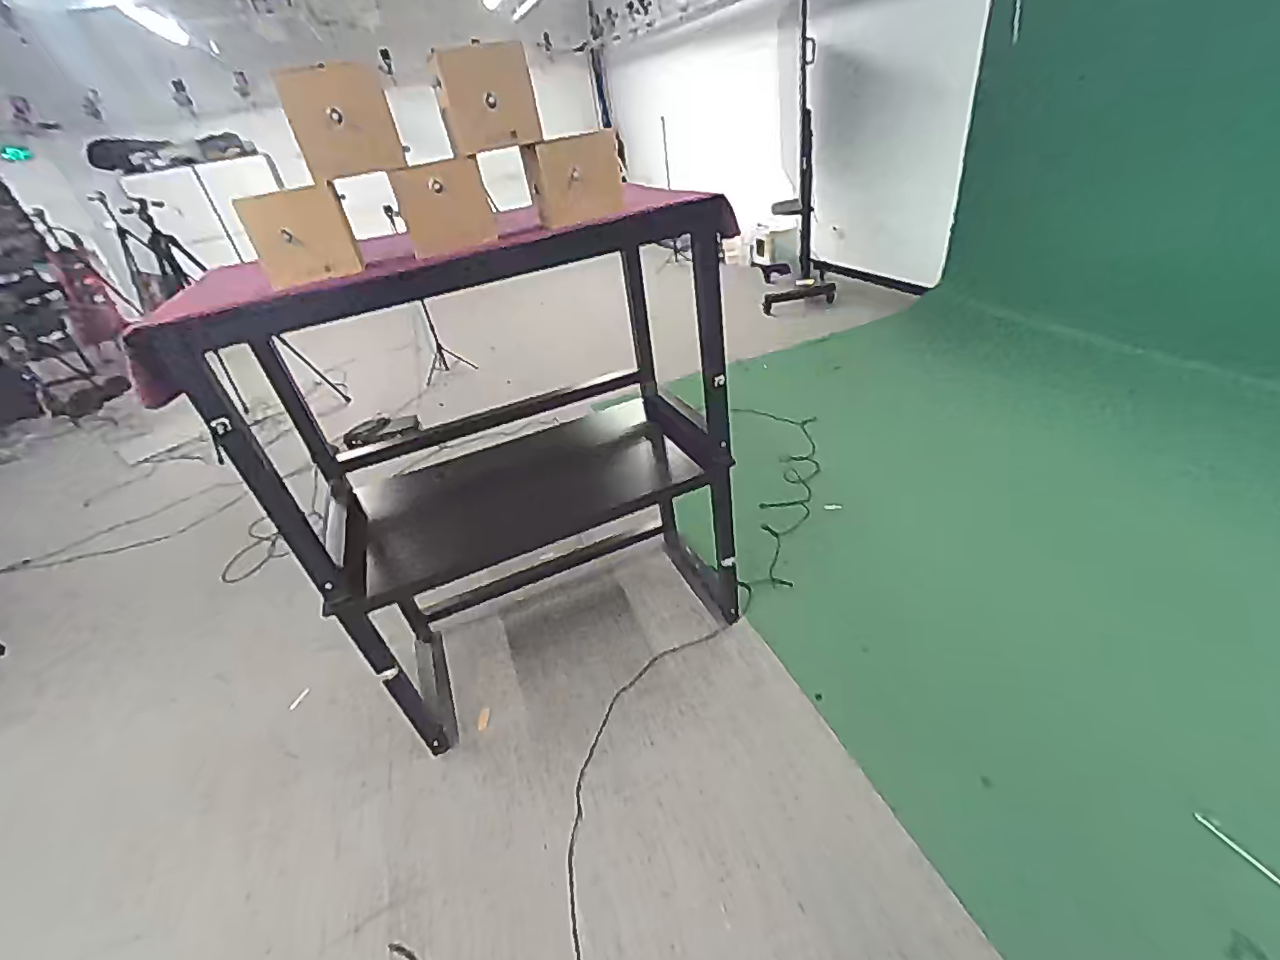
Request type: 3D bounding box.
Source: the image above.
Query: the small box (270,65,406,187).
[{"bbox_3d":[-0.564,-0.673,1.038,0.179,0.176,0.168,-21,35,-15],"label":"small box"}]

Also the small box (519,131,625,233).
[{"bbox_3d":[-0.151,-0.671,1.222,0.179,0.176,0.168,-21,36,-14],"label":"small box"}]

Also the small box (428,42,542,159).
[{"bbox_3d":[-0.311,-0.758,1.096,0.168,0.176,0.179,-21,35,-15],"label":"small box"}]

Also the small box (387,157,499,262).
[{"bbox_3d":[-0.418,-0.577,1.154,0.179,0.176,0.168,-19,34,-14],"label":"small box"}]

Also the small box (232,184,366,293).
[{"bbox_3d":[-0.668,-0.486,1.084,0.168,0.176,0.179,-20,34,-15],"label":"small box"}]
